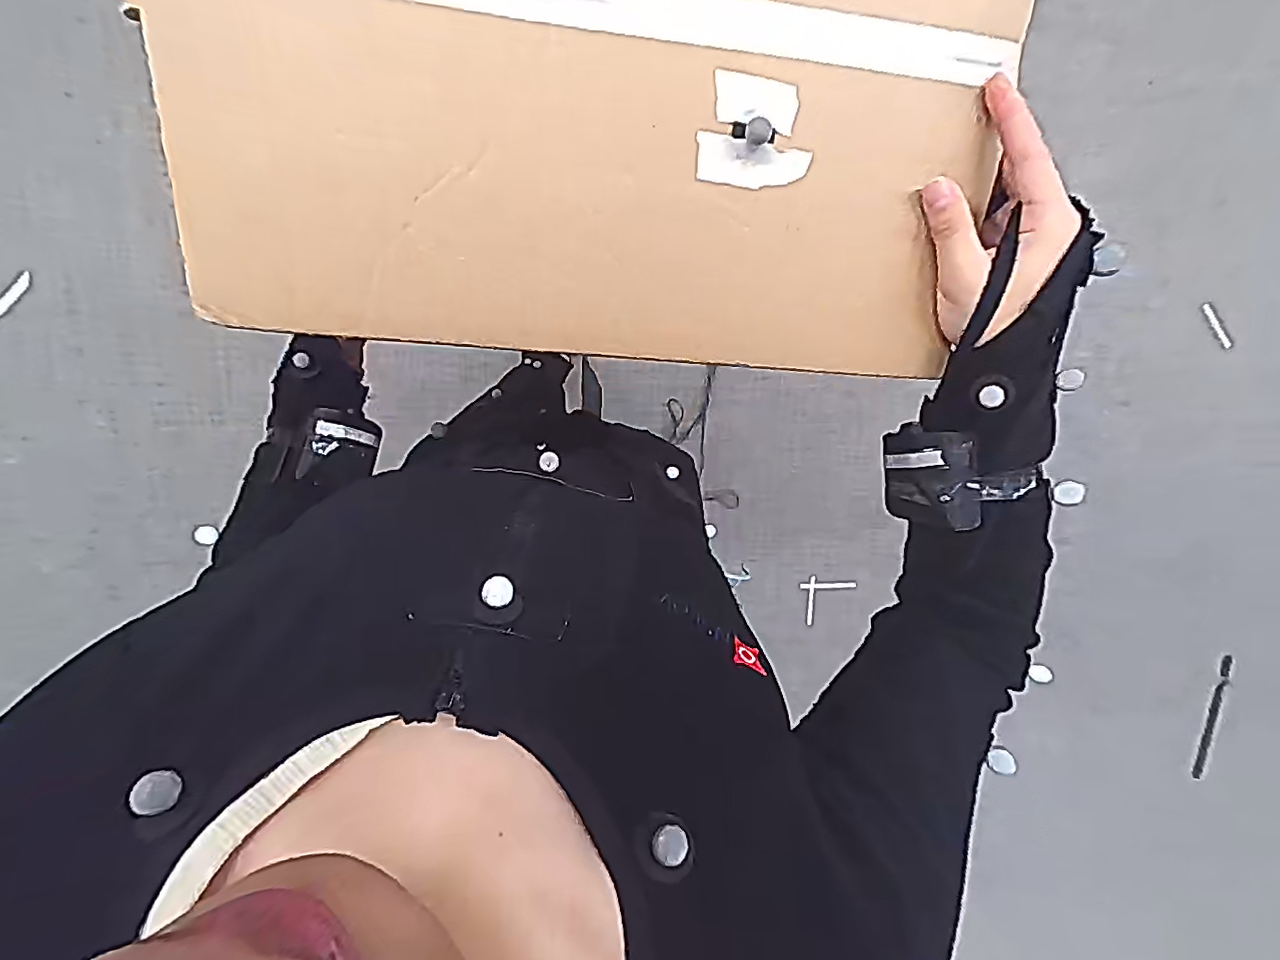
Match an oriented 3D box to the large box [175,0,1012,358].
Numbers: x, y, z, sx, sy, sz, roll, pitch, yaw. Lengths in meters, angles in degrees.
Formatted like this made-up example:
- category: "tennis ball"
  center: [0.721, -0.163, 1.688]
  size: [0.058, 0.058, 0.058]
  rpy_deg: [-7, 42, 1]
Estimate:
- category: "large box"
  center: [-0.029, -0.268, 0.402]
  size: [0.408, 0.320, 0.320]
  rpy_deg: [2, 108, -9]
